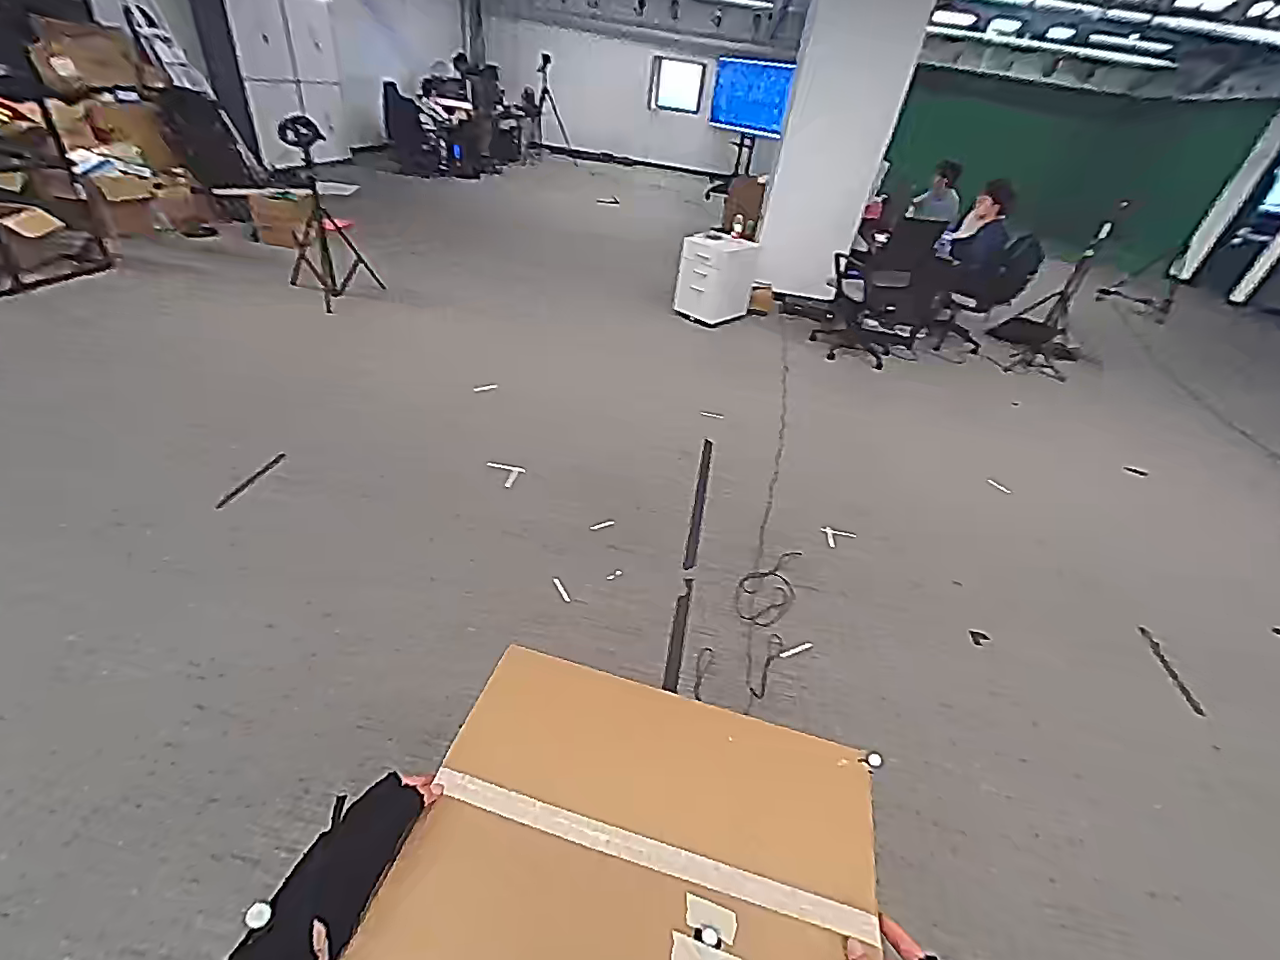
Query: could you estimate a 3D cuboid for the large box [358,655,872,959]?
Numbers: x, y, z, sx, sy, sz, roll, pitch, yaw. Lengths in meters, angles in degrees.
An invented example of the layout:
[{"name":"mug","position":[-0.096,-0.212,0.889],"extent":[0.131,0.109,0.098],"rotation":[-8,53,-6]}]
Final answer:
[{"name":"large box","position":[-0.009,0.453,0.582],"extent":[0.408,0.320,0.320],"rotation":[14,39,9]}]
